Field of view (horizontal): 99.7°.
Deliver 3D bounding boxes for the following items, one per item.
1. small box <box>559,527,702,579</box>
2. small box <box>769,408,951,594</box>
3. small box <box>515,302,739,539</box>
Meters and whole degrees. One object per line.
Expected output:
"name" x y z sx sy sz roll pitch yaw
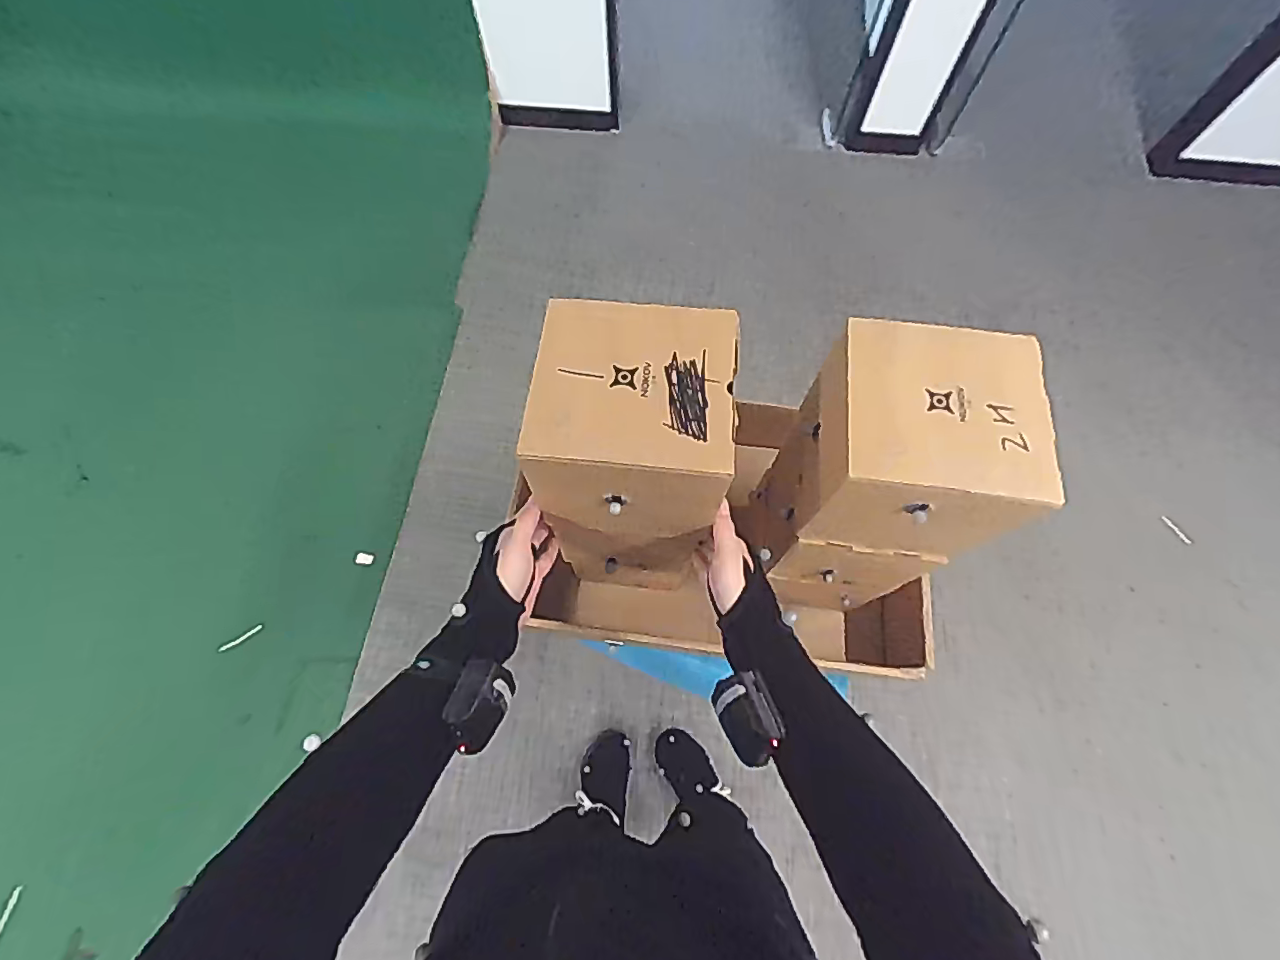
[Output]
"small box" -0.008 0.013 0.685 0.168 0.176 0.179 5 66 2
"small box" 0.267 0.034 0.692 0.168 0.176 0.179 8 67 3
"small box" -0.005 -0.048 0.532 0.179 0.176 0.168 5 65 3
